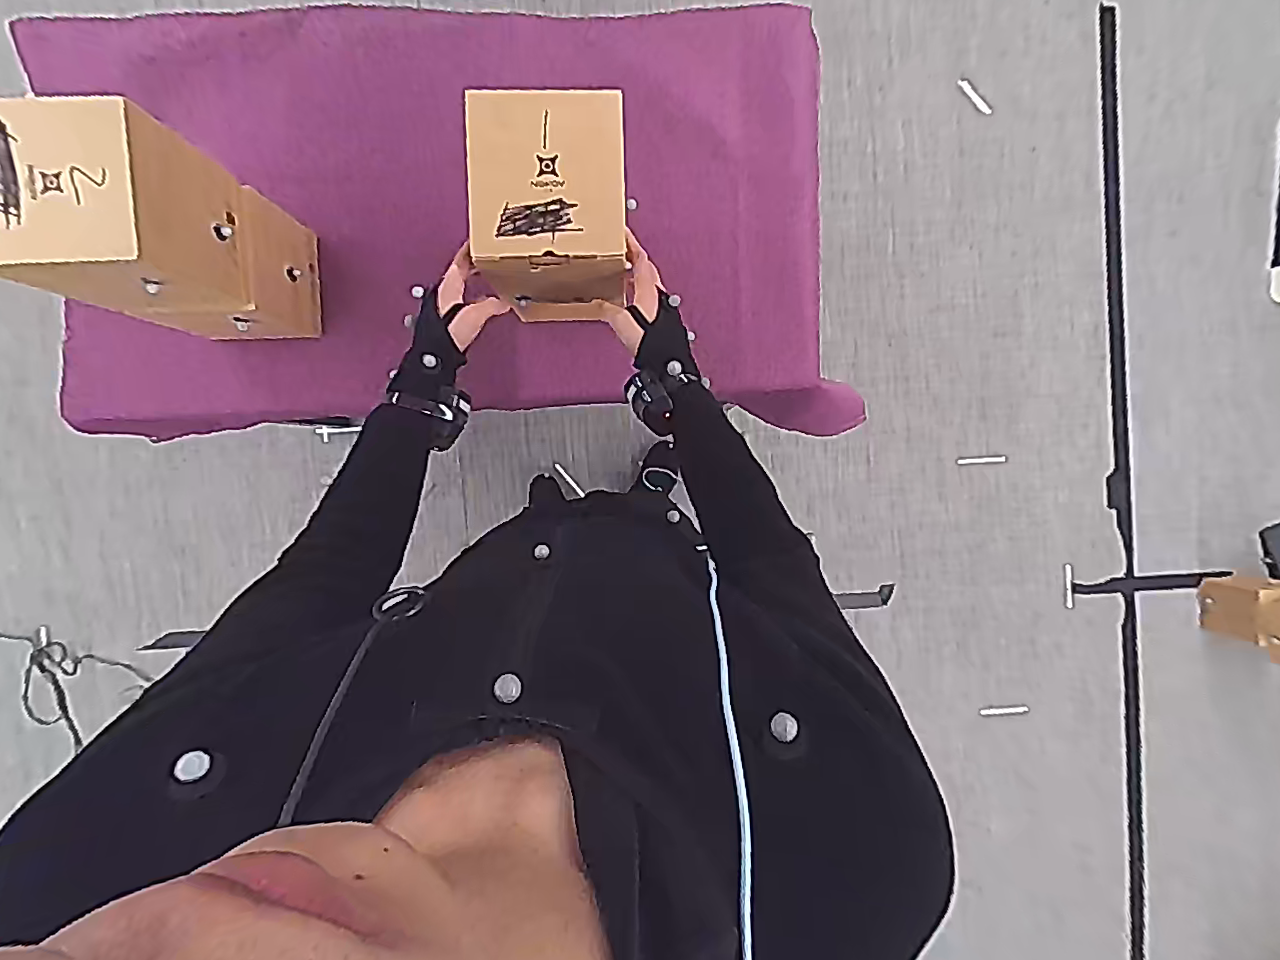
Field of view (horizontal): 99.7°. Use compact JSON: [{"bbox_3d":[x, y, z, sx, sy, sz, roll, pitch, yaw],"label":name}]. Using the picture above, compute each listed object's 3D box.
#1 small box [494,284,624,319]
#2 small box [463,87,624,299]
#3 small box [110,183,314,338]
[{"bbox_3d":[-0.114,-0.342,0.805,0.179,0.176,0.168,-2,93,-2],"label":"small box"},{"bbox_3d":[-0.103,-0.322,0.641,0.168,0.176,0.179,-2,91,-3],"label":"small box"},{"bbox_3d":[-0.601,-0.307,0.786,0.179,0.176,0.168,-1,93,-2],"label":"small box"}]
